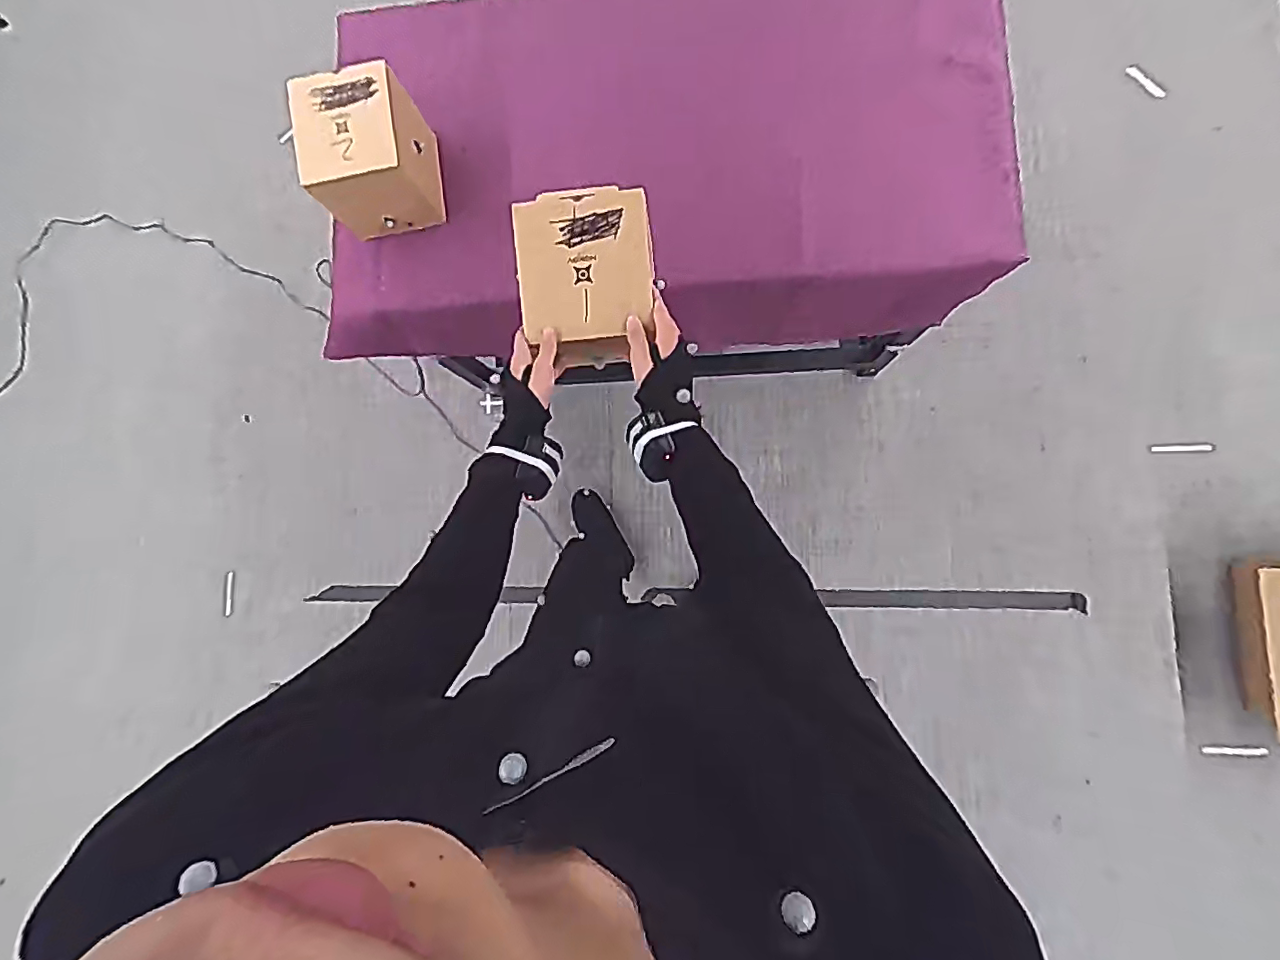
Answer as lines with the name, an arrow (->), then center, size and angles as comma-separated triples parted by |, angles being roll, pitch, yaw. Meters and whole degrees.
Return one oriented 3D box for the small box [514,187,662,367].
small box -> -0.060, -0.260, 0.729 | 0.168, 0.176, 0.179 | -5, 93, 5
